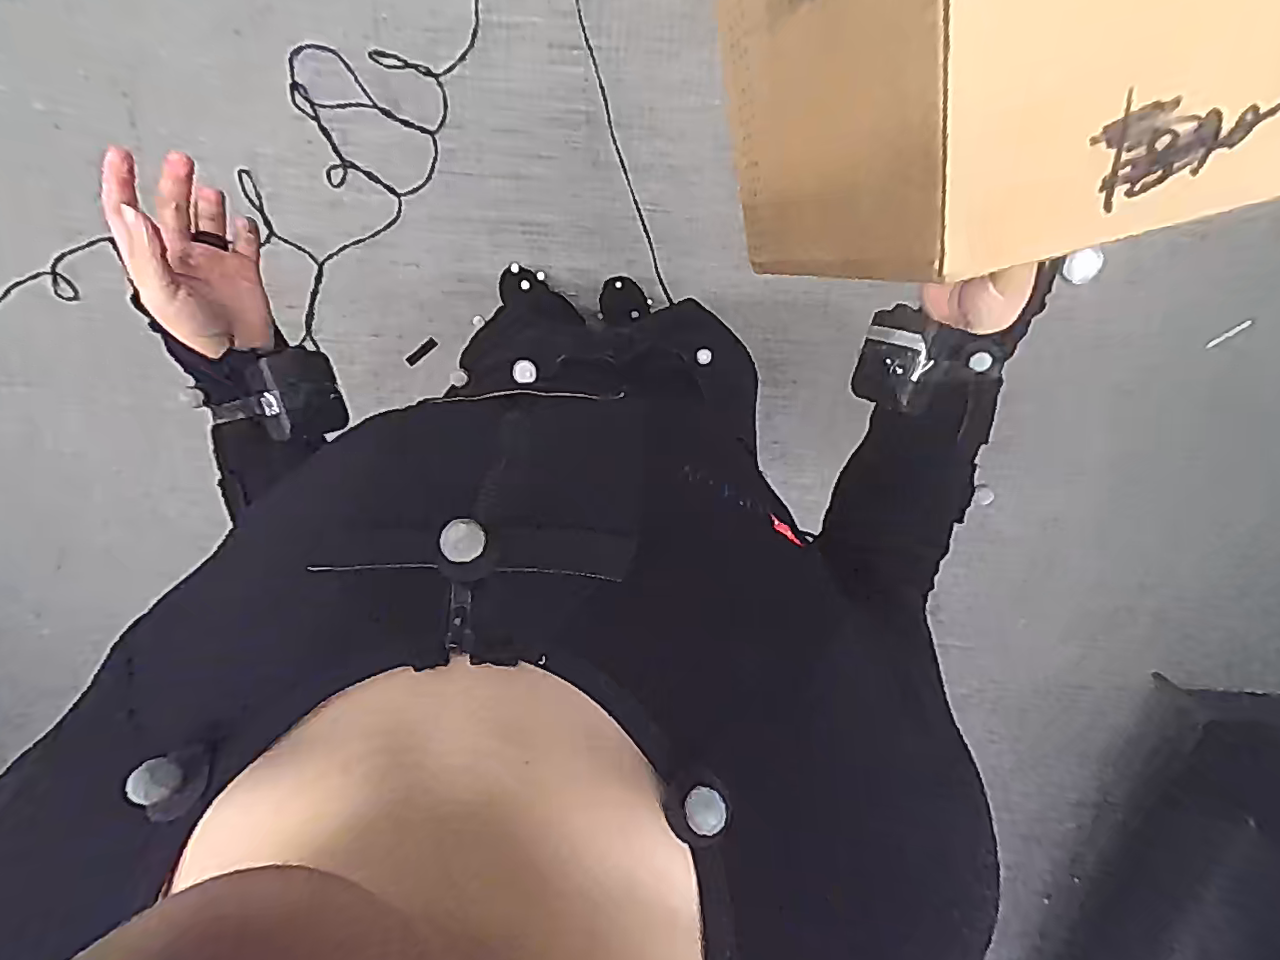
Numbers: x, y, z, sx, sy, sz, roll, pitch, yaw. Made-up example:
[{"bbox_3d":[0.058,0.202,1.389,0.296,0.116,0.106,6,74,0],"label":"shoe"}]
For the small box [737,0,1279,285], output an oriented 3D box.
[{"bbox_3d":[0.145,-0.184,0.213,0.168,0.176,0.179,-15,113,-2],"label":"small box"}]
